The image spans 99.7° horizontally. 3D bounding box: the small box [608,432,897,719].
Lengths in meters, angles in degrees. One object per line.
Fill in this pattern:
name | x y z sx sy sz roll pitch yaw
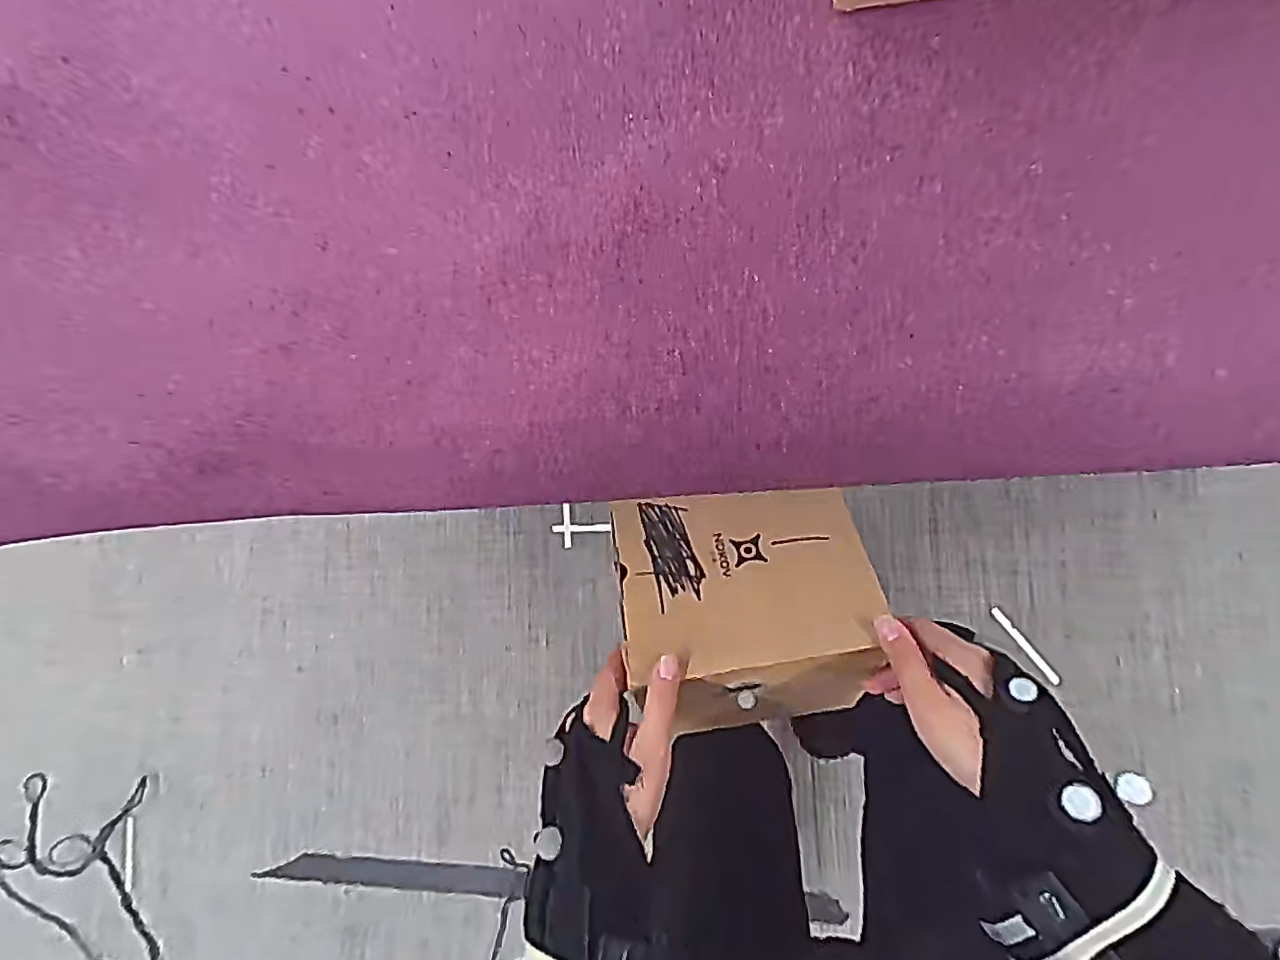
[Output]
small box | 0.079 0.088 0.452 0.179 0.176 0.168 -10 55 1
